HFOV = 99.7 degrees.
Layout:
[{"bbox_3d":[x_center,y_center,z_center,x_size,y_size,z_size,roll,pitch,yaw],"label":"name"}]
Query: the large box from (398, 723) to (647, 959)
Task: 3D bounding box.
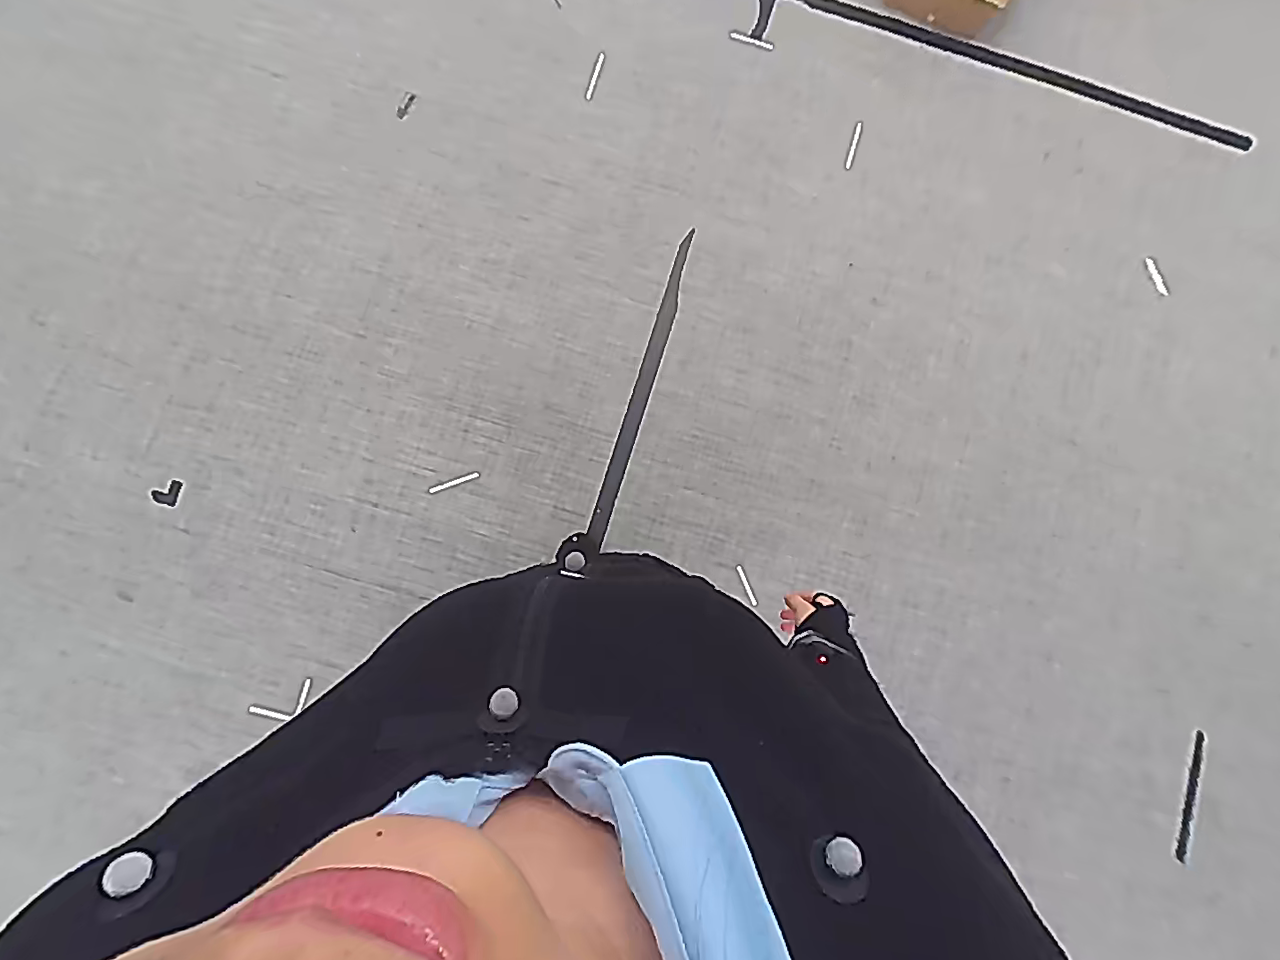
[{"bbox_3d":[-0.212,0.748,1.126,0.408,0.320,0.320,12,84,-1],"label":"large box"}]
